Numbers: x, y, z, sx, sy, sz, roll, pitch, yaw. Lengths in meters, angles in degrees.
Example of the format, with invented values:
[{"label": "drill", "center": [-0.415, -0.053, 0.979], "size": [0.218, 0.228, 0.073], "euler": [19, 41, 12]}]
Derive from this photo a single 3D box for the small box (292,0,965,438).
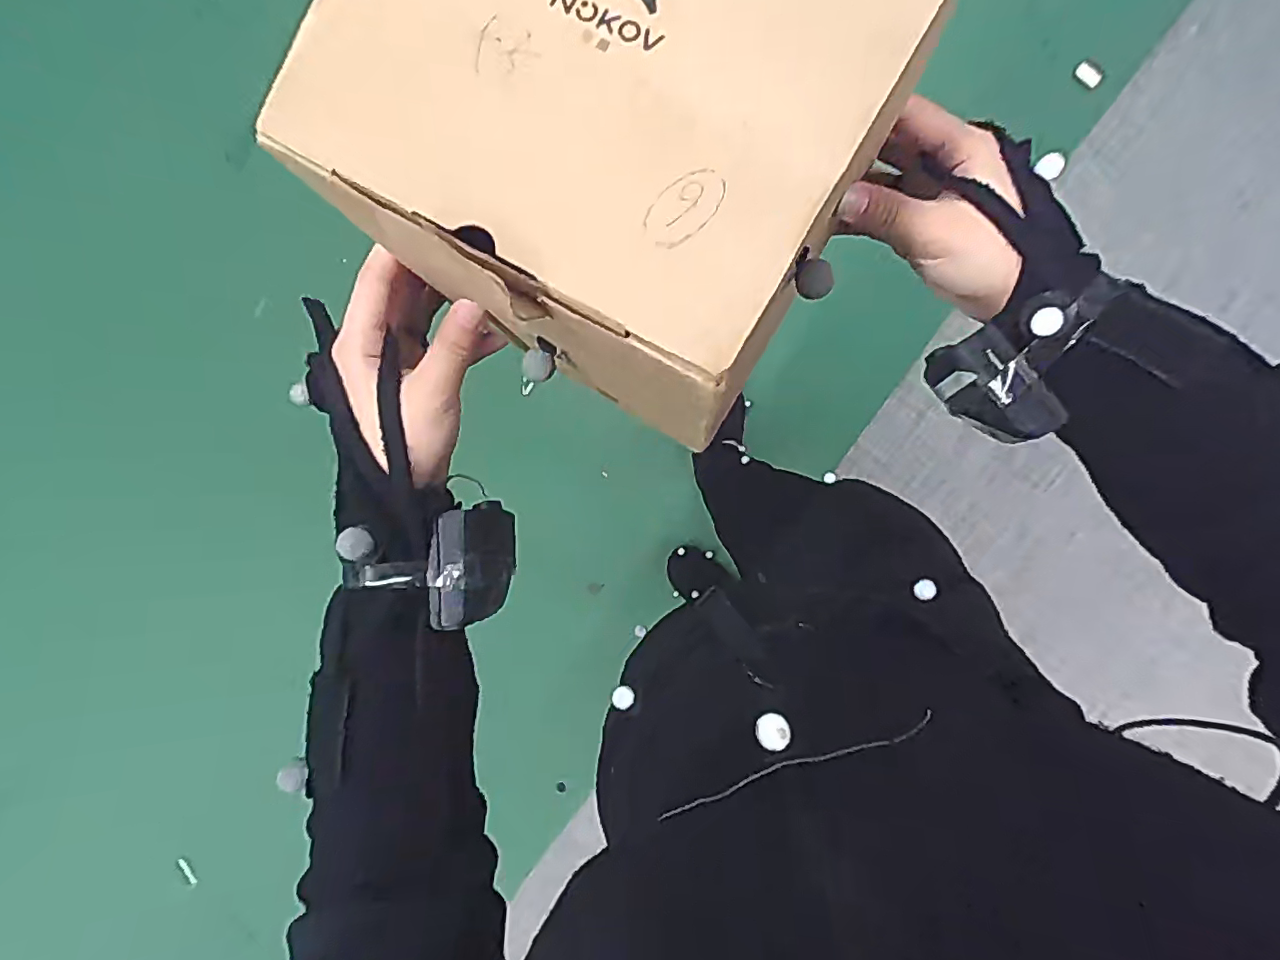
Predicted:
[{"label": "small box", "center": [0.007, -0.134, 0.243], "size": [0.168, 0.176, 0.179], "euler": [31, 91, 6]}]
